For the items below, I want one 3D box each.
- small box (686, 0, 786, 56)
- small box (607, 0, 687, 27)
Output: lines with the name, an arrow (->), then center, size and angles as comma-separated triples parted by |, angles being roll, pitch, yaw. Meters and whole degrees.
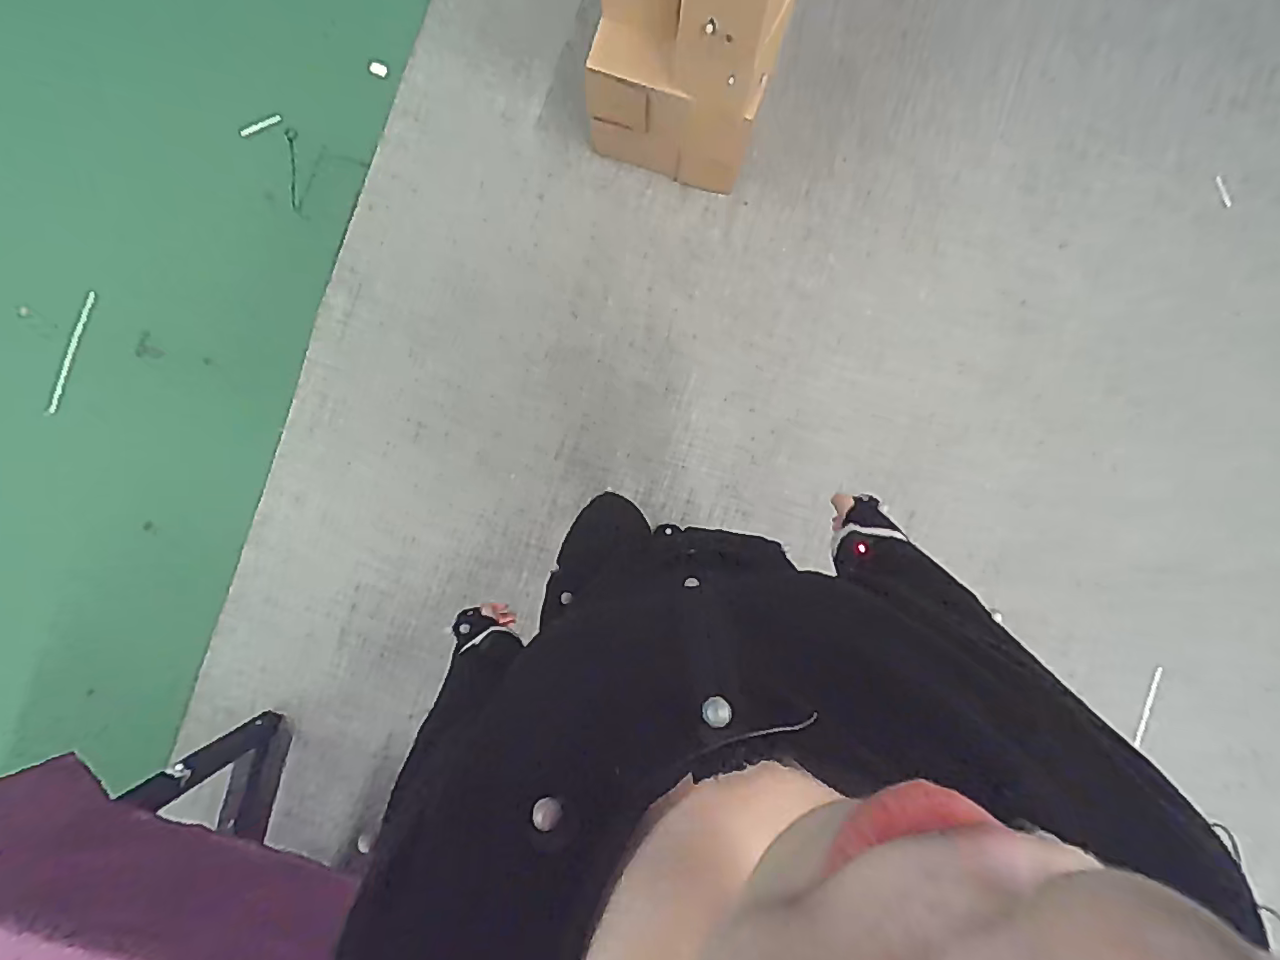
small box -> 0.190, -0.926, 0.963 | 0.168, 0.176, 0.179 | 27, 89, 1
small box -> 0.029, -1.113, 1.137 | 0.179, 0.176, 0.168 | 17, 87, 2
